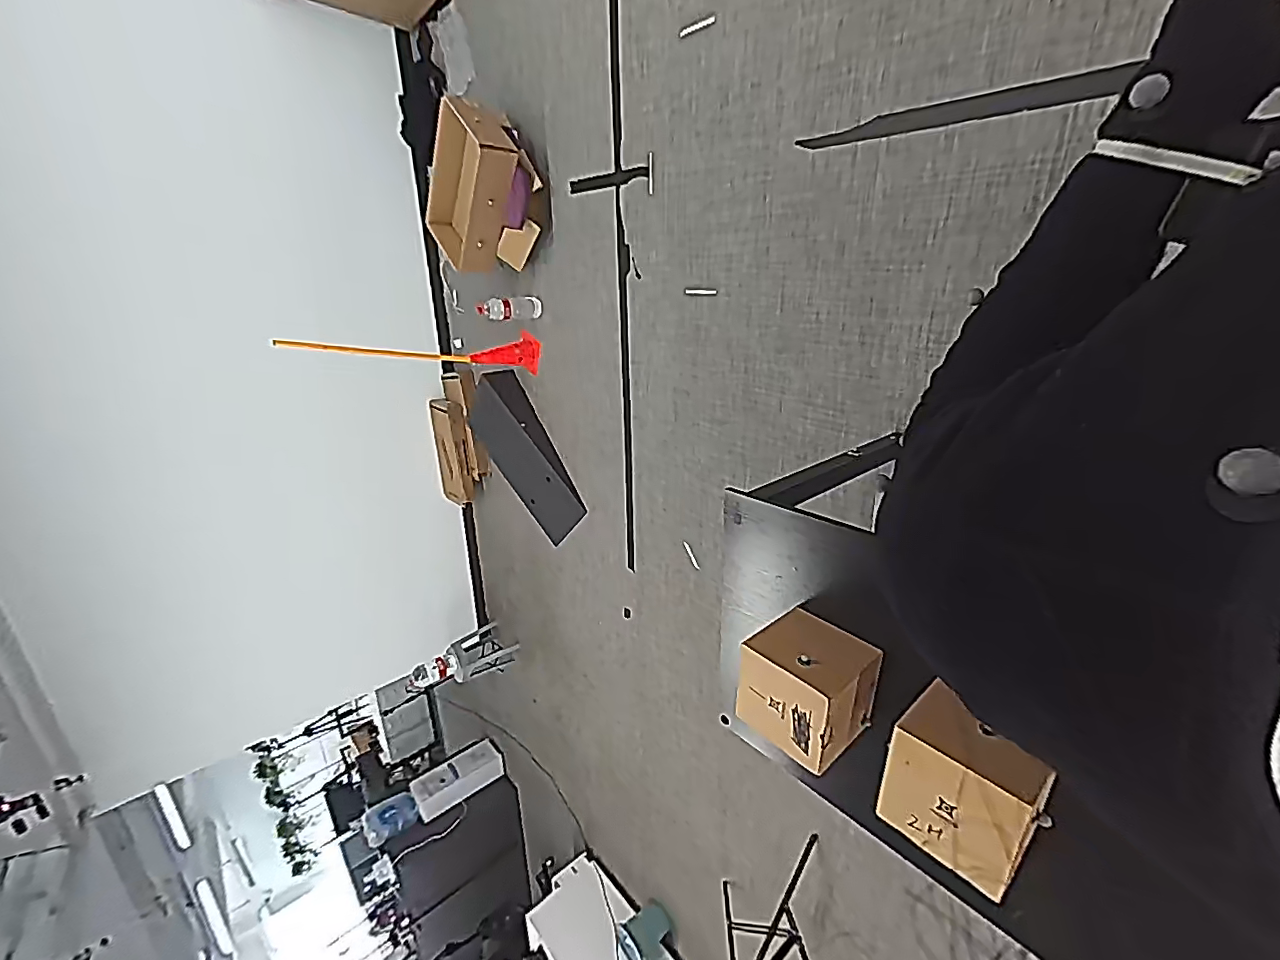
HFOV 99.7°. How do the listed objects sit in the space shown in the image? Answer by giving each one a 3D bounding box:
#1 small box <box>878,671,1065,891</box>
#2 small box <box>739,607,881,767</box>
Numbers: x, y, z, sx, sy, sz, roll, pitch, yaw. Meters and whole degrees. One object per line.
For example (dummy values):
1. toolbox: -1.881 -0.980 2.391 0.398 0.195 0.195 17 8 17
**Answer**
1. small box: 0.470 0.409 0.769 0.168 0.176 0.179 23 121 45
2. small box: 0.299 0.351 0.958 0.179 0.176 0.168 24 122 45
